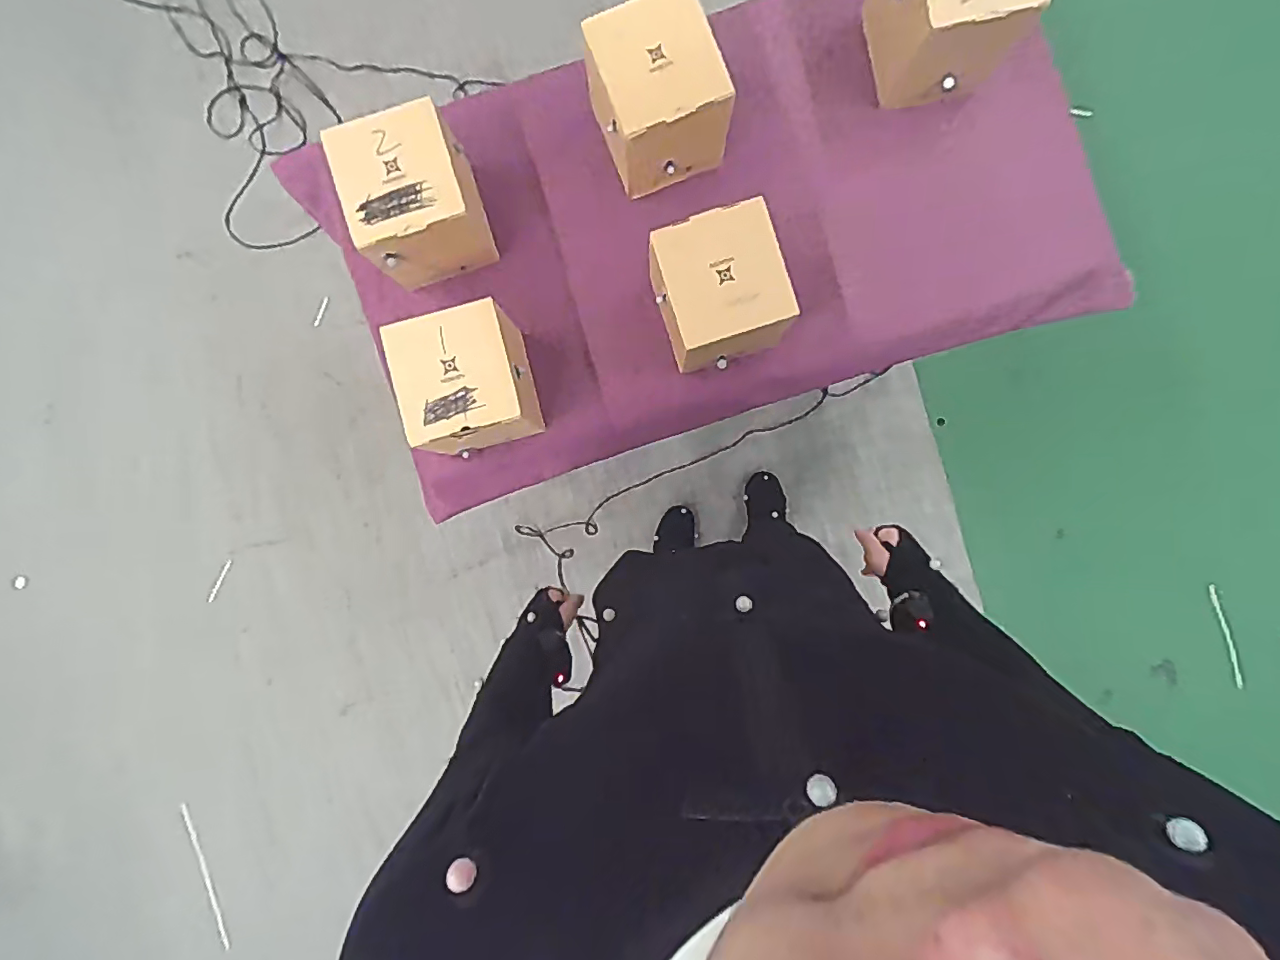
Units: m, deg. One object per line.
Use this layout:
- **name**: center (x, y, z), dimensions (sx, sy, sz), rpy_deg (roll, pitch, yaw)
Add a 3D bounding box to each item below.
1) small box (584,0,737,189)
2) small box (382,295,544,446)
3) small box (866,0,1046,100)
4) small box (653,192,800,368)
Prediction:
- **small box**: center (0.027, -0.588, 0.818), dimensions (0.168, 0.176, 0.179), rpy_deg (-22, 91, 1)
- **small box**: center (-0.256, -0.153, 0.824), dimensions (0.168, 0.176, 0.179), rpy_deg (-15, 89, 1)
- **small box**: center (0.459, -0.720, 0.806), dimensions (0.168, 0.176, 0.179), rpy_deg (-12, 91, 2)
- **small box**: center (0.120, -0.289, 0.818), dimensions (0.168, 0.176, 0.179), rpy_deg (-17, 89, 2)
